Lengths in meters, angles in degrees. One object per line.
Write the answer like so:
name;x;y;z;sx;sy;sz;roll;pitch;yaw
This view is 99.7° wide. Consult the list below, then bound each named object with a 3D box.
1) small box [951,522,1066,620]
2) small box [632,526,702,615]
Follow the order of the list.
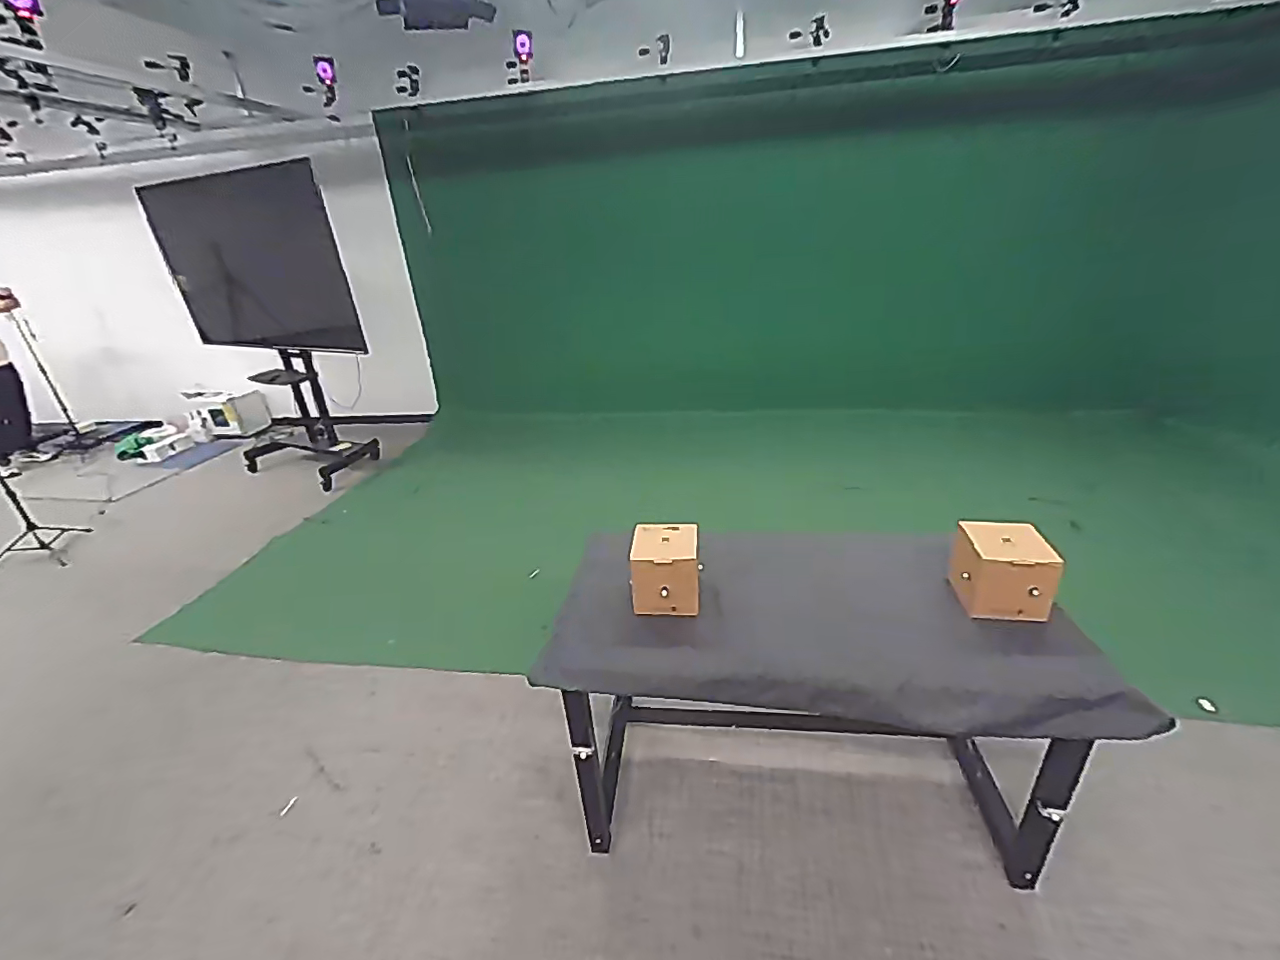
small box;0.878;0.218;1.306;0.168;0.176;0.179;1;25;11
small box;0.078;0.237;1.415;0.168;0.176;0.179;-1;26;7
